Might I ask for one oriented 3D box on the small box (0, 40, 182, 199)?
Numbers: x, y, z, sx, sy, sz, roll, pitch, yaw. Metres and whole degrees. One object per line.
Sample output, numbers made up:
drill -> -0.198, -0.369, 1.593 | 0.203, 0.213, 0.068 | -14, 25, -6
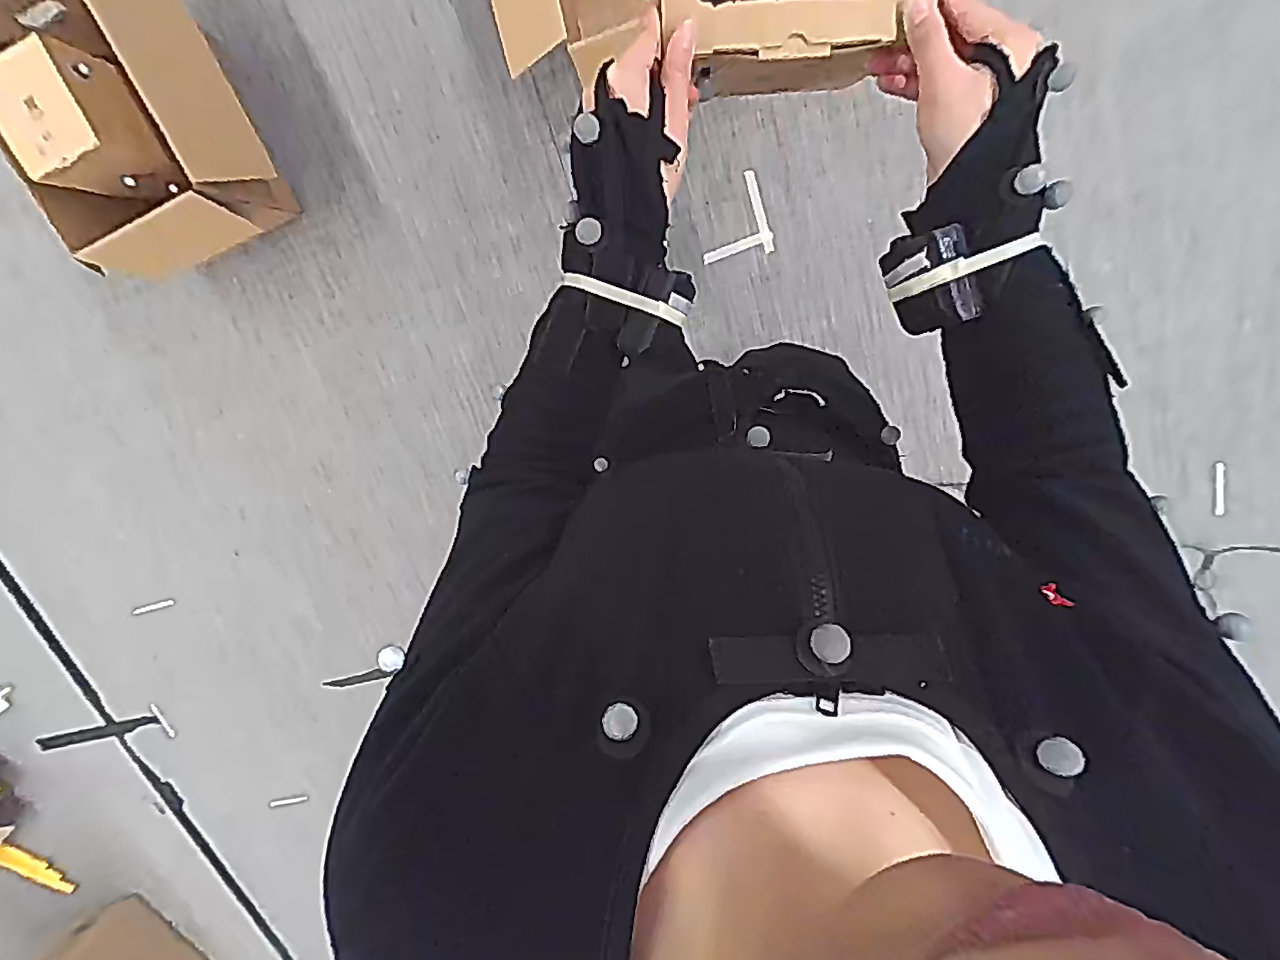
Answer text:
small box -> -1.031, -0.656, 1.010 | 0.168, 0.176, 0.179 | -18, 106, 11
